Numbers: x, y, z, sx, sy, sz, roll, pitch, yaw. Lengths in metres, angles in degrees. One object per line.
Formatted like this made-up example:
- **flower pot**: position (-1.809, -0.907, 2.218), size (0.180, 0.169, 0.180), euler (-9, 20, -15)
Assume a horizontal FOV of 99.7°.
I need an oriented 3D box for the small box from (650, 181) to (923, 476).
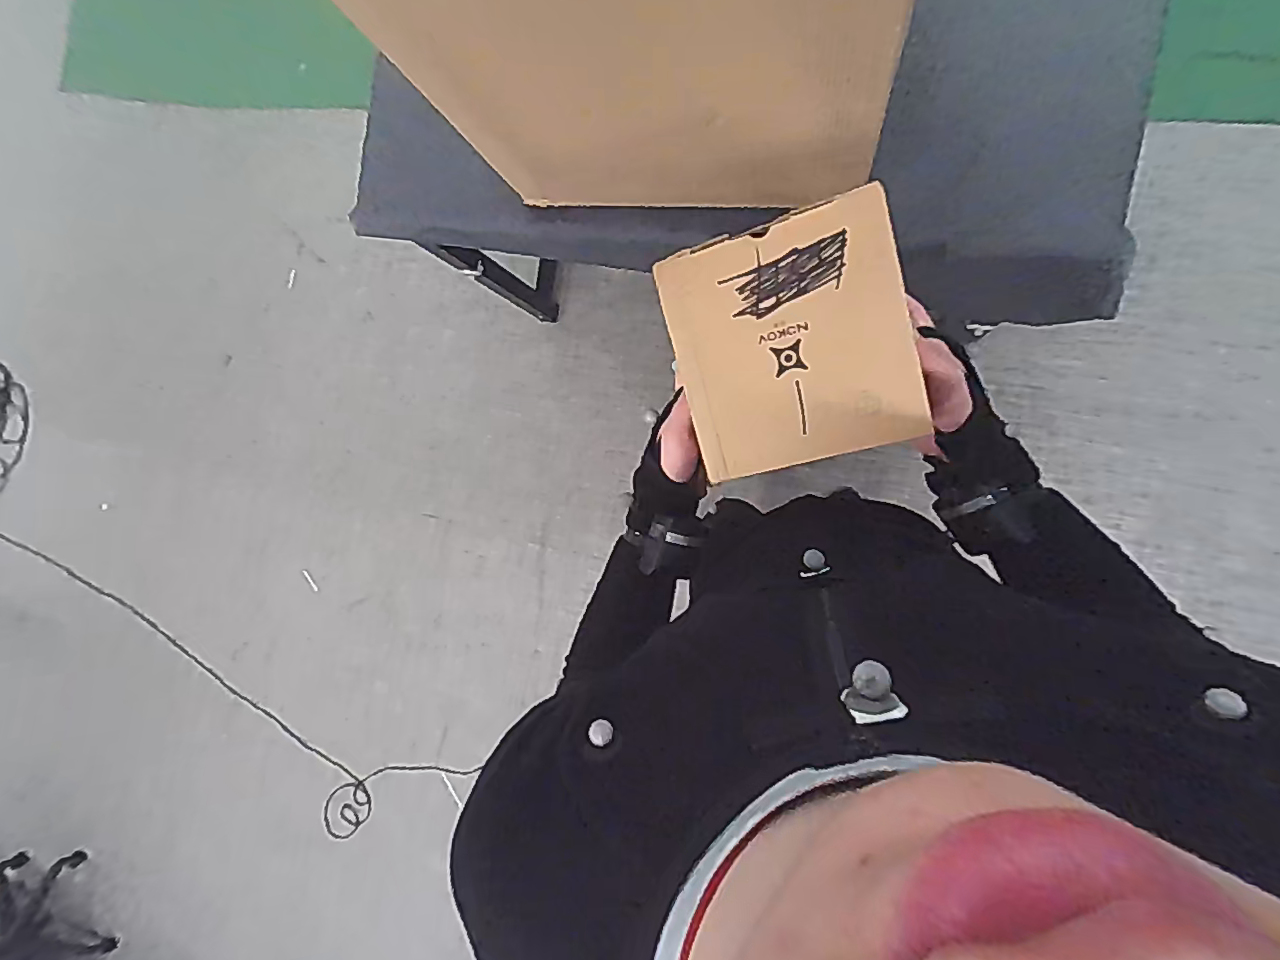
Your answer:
- **small box**: position (0.124, -0.117, 0.468), size (0.168, 0.176, 0.179), euler (-13, 99, 19)
